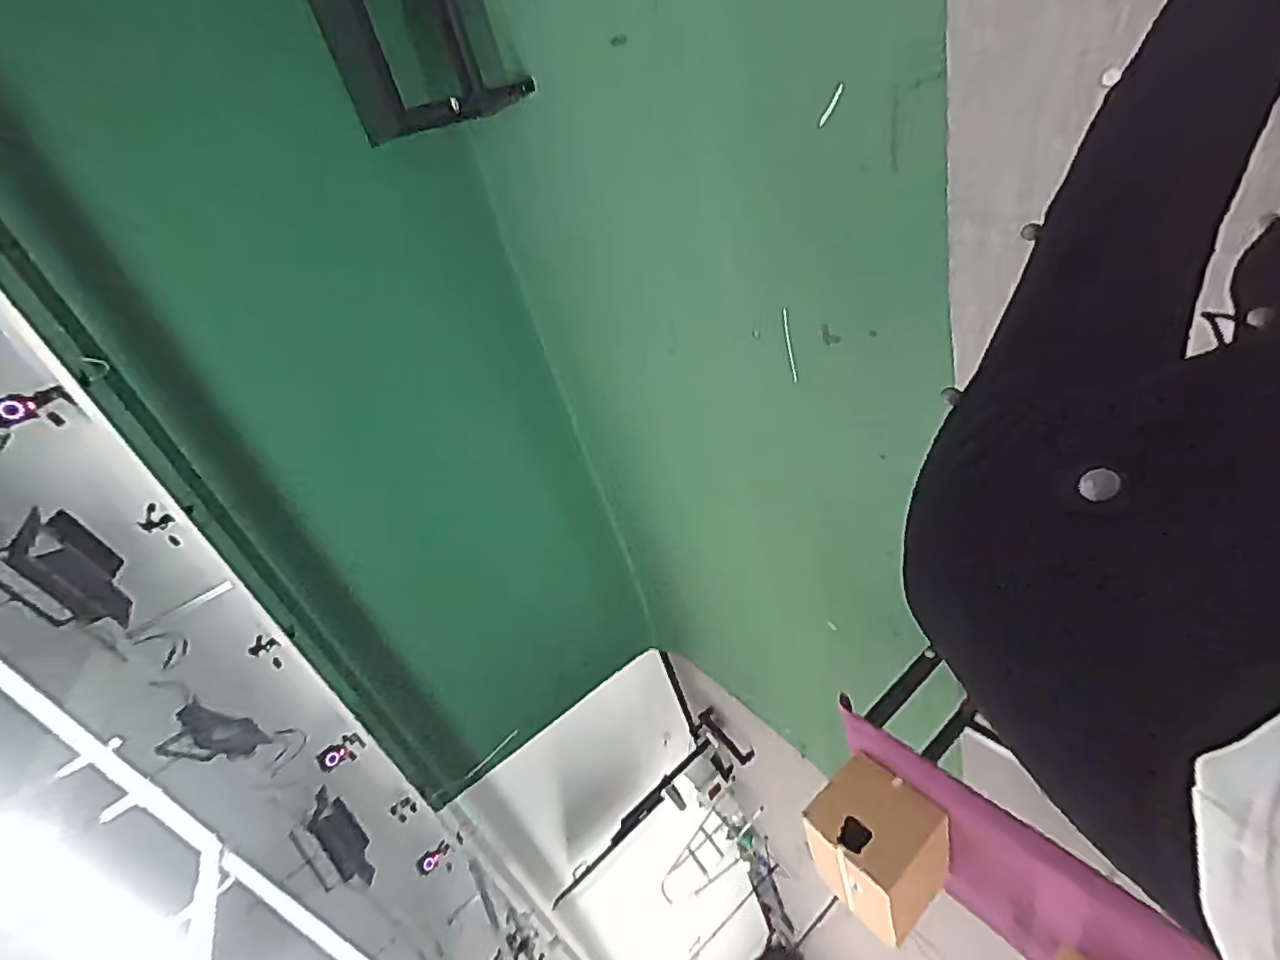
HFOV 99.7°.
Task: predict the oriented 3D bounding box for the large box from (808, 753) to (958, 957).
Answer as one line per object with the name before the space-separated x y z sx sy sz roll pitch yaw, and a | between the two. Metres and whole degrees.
large box | 0.797 1.200 1.757 0.320 0.320 0.408 22 137 52
